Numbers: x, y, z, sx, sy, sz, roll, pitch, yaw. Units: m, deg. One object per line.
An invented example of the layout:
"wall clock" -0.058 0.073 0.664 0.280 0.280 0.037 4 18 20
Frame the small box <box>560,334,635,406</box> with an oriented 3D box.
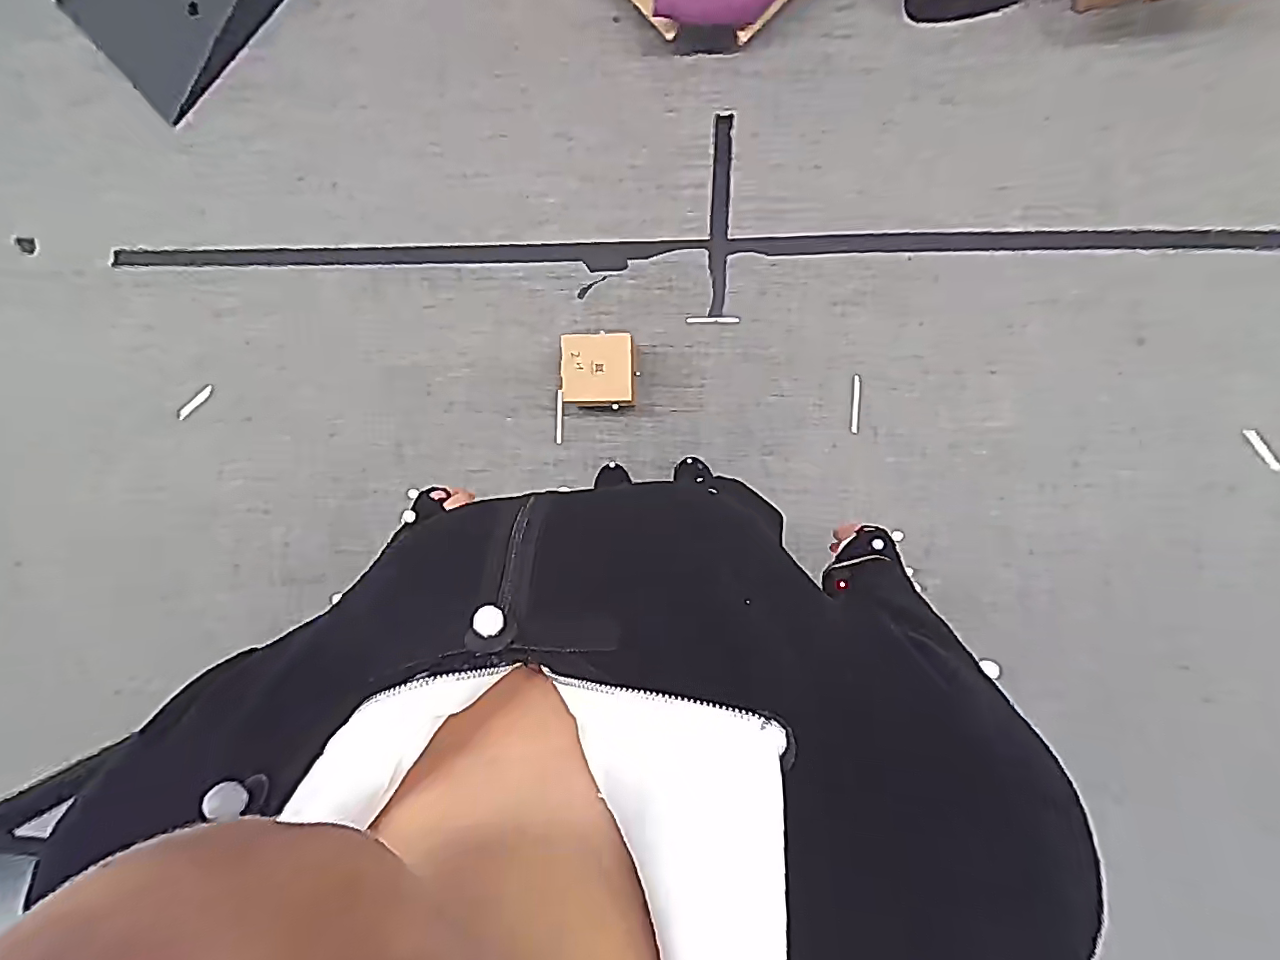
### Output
"small box" -0.105 -0.283 1.410 0.179 0.176 0.168 1 93 5
